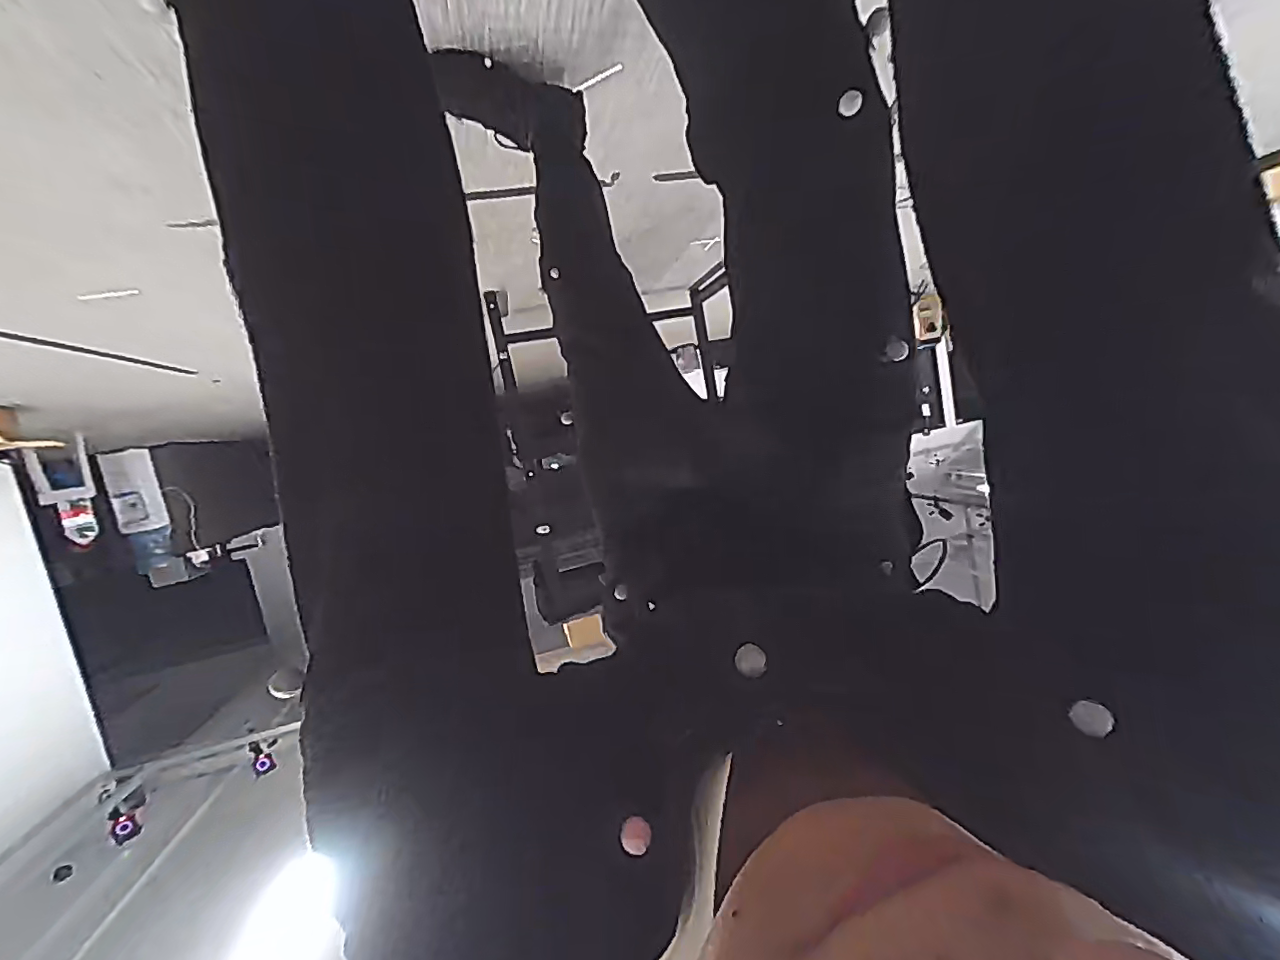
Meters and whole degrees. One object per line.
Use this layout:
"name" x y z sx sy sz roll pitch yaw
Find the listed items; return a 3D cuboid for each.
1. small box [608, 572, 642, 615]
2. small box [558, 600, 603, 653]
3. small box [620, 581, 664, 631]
"small box" -0.073 0.608 2.925 0.168 0.176 0.179 -13 -173 -12
"small box" -0.288 0.694 2.585 0.168 0.176 0.179 -13 -170 -15
"small box" 0.004 0.621 2.682 0.168 0.176 0.179 -13 -171 -13
